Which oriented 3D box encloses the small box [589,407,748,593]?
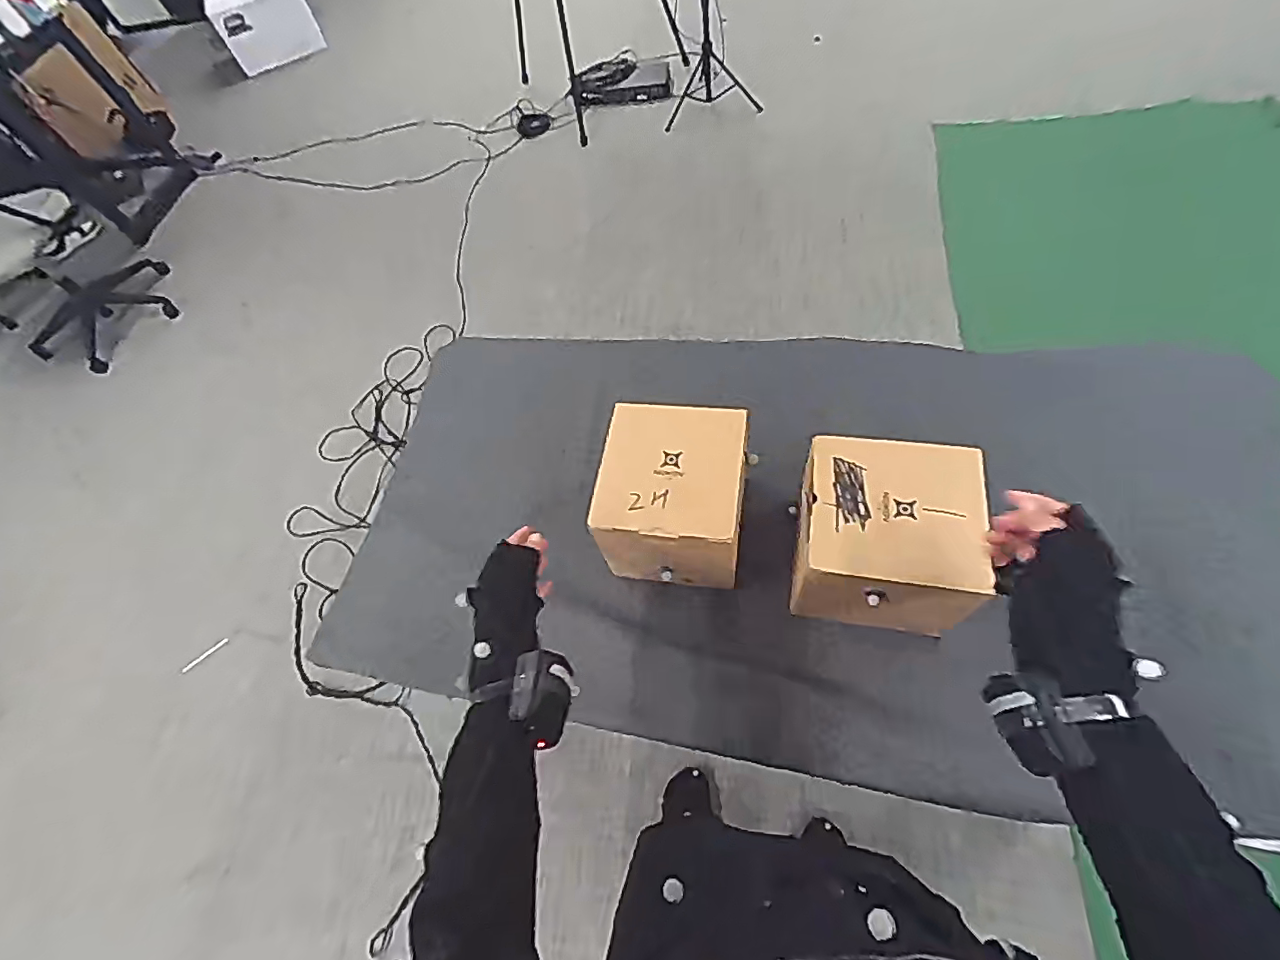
[{"bbox_3d":[0.047,0.029,0.699,0.168,0.176,0.179,5,61,13],"label":"small box"}]
